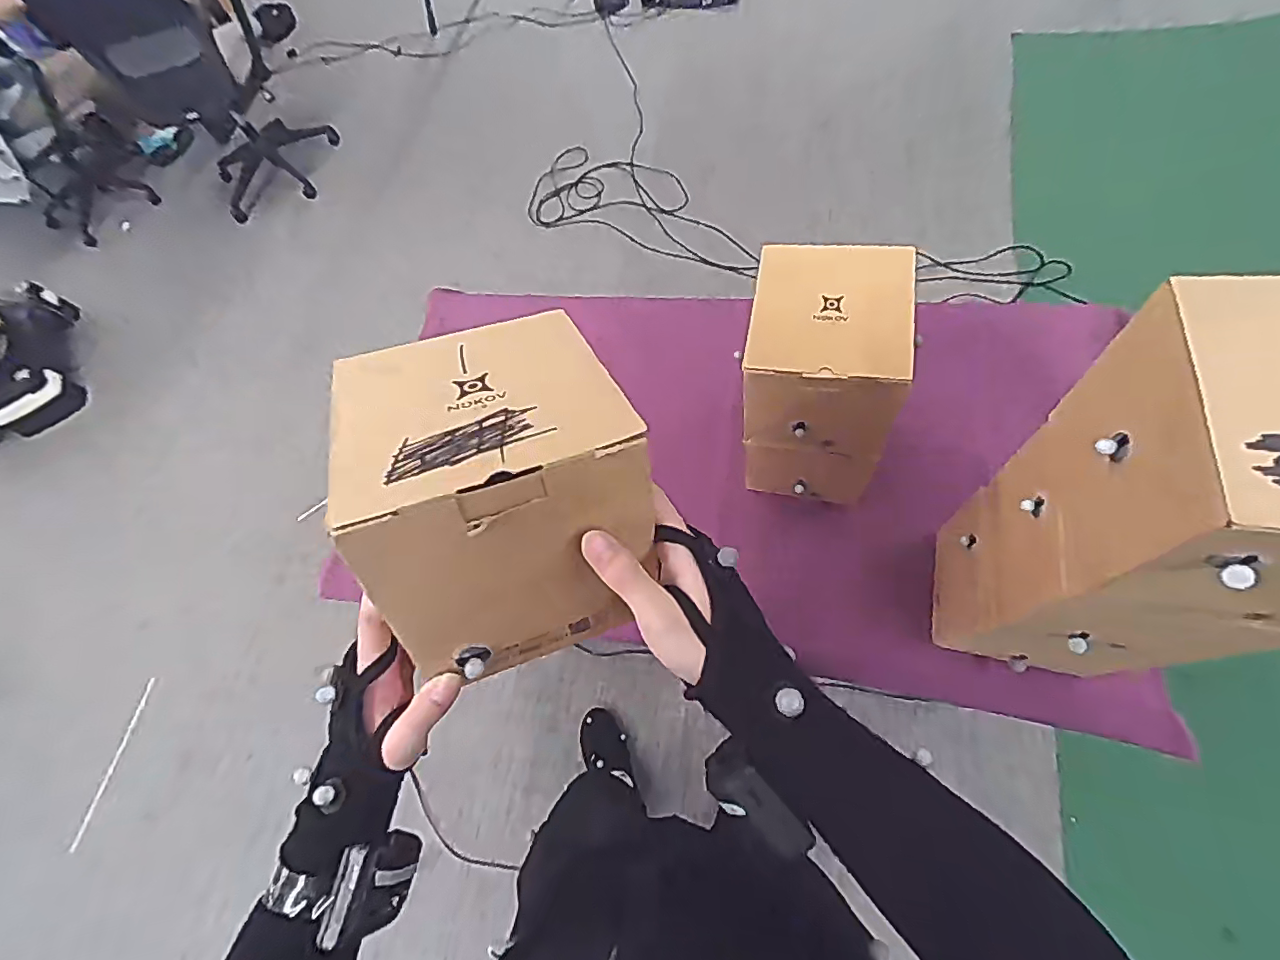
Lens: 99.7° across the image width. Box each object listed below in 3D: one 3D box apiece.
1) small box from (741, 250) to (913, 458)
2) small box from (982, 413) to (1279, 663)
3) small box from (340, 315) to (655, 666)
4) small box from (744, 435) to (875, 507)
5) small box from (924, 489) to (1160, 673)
[{"bbox_3d":[0.215,-0.147,0.652,0.168,0.176,0.179,7,69,13],"label":"small box"},{"bbox_3d":[0.447,0.061,0.515,0.168,0.176,0.179,9,68,16],"label":"small box"},{"bbox_3d":[-0.094,0.009,0.391,0.168,0.176,0.179,-17,44,-14],"label":"small box"},{"bbox_3d":[0.249,-0.081,0.797,0.168,0.176,0.179,10,69,15],"label":"small box"},{"bbox_3d":[0.472,0.130,0.661,0.179,0.176,0.168,10,68,15],"label":"small box"}]
